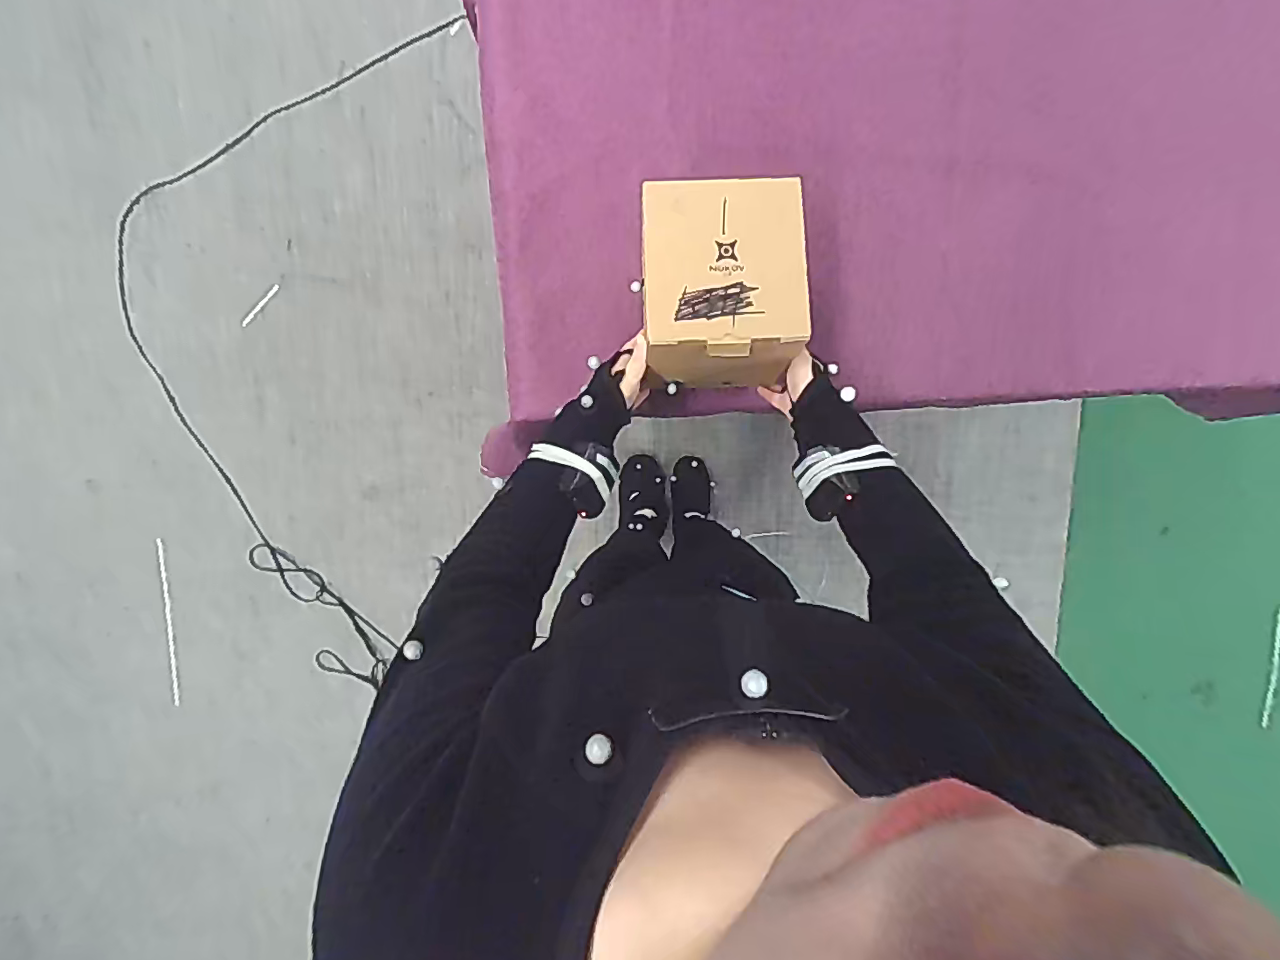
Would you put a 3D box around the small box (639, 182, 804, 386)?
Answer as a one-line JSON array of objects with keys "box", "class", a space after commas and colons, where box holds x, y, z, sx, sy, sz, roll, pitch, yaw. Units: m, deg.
[{"box": [0.083, -0.212, 0.630, 0.168, 0.176, 0.179, -2, 84, 0], "class": "small box"}]
